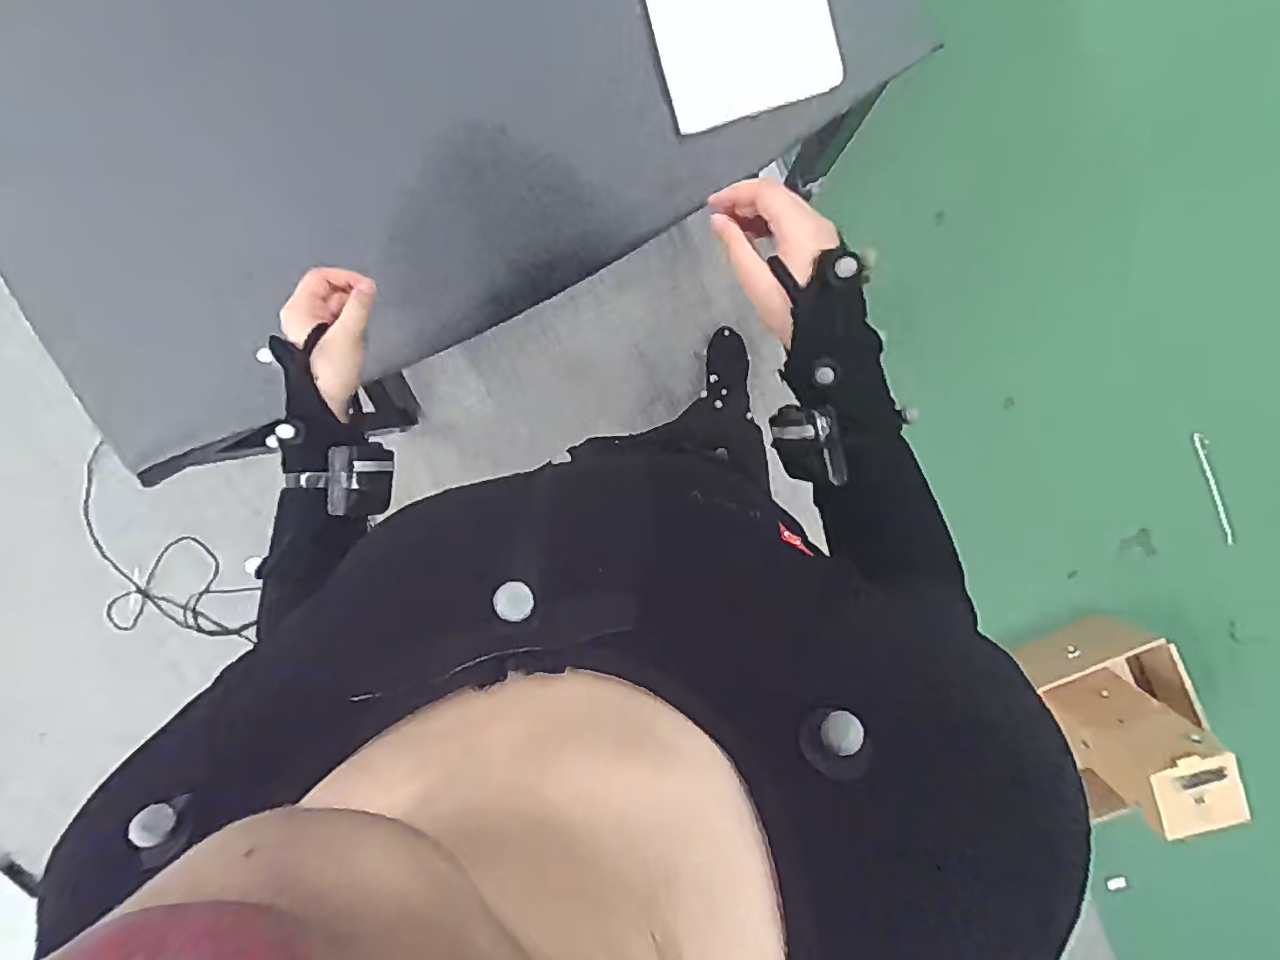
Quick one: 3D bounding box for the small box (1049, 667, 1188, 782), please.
[{"bbox_3d":[1.184,0.601,1.350,0.179,0.176,0.168,-26,98,9],"label":"small box"}]
